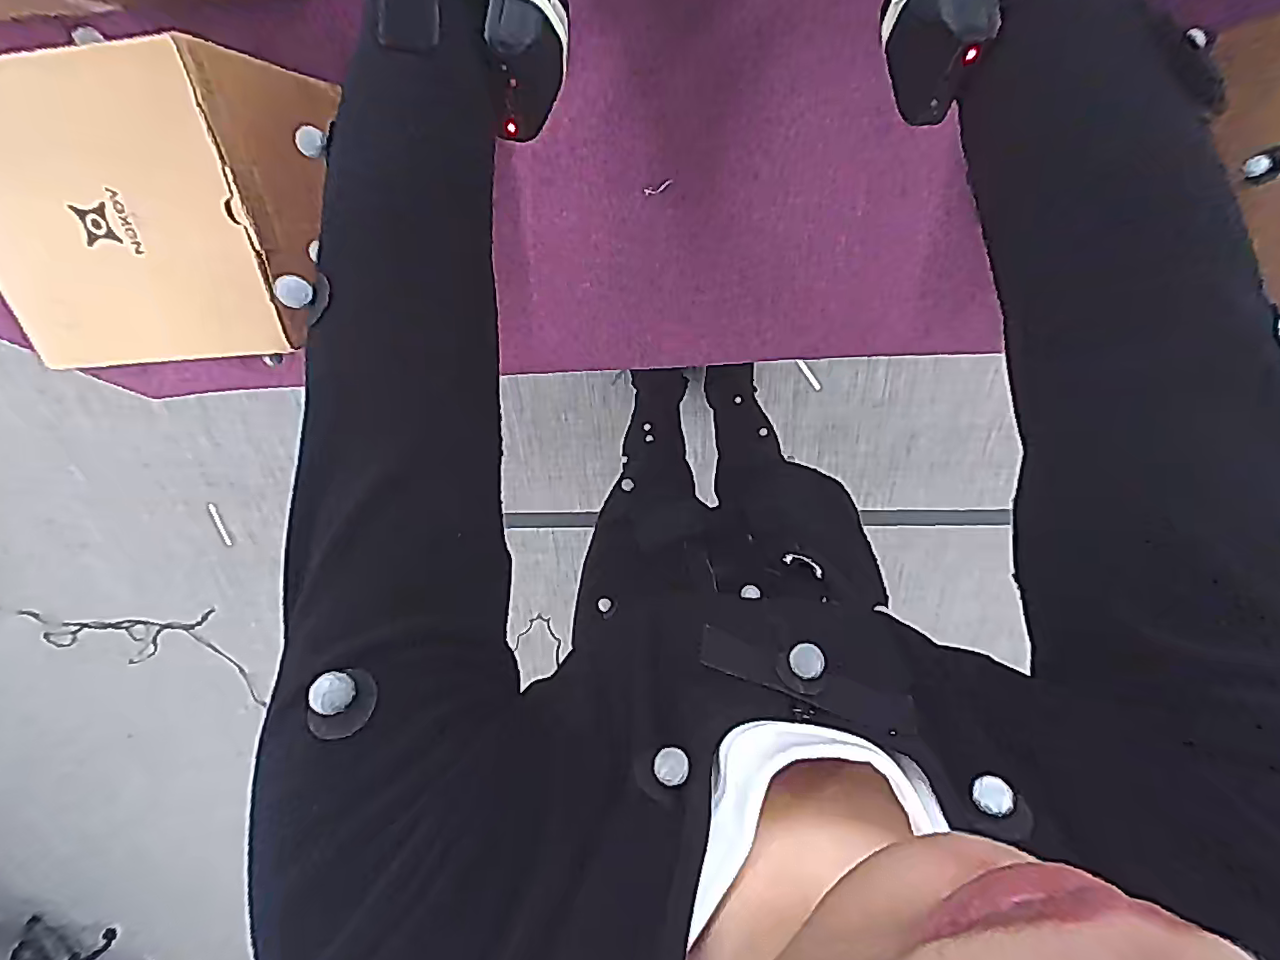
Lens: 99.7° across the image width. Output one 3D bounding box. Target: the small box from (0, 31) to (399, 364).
[{"bbox_3d":[-0.312,-0.190,0.392,0.179,0.176,0.168,-4,117,4],"label":"small box"}]
